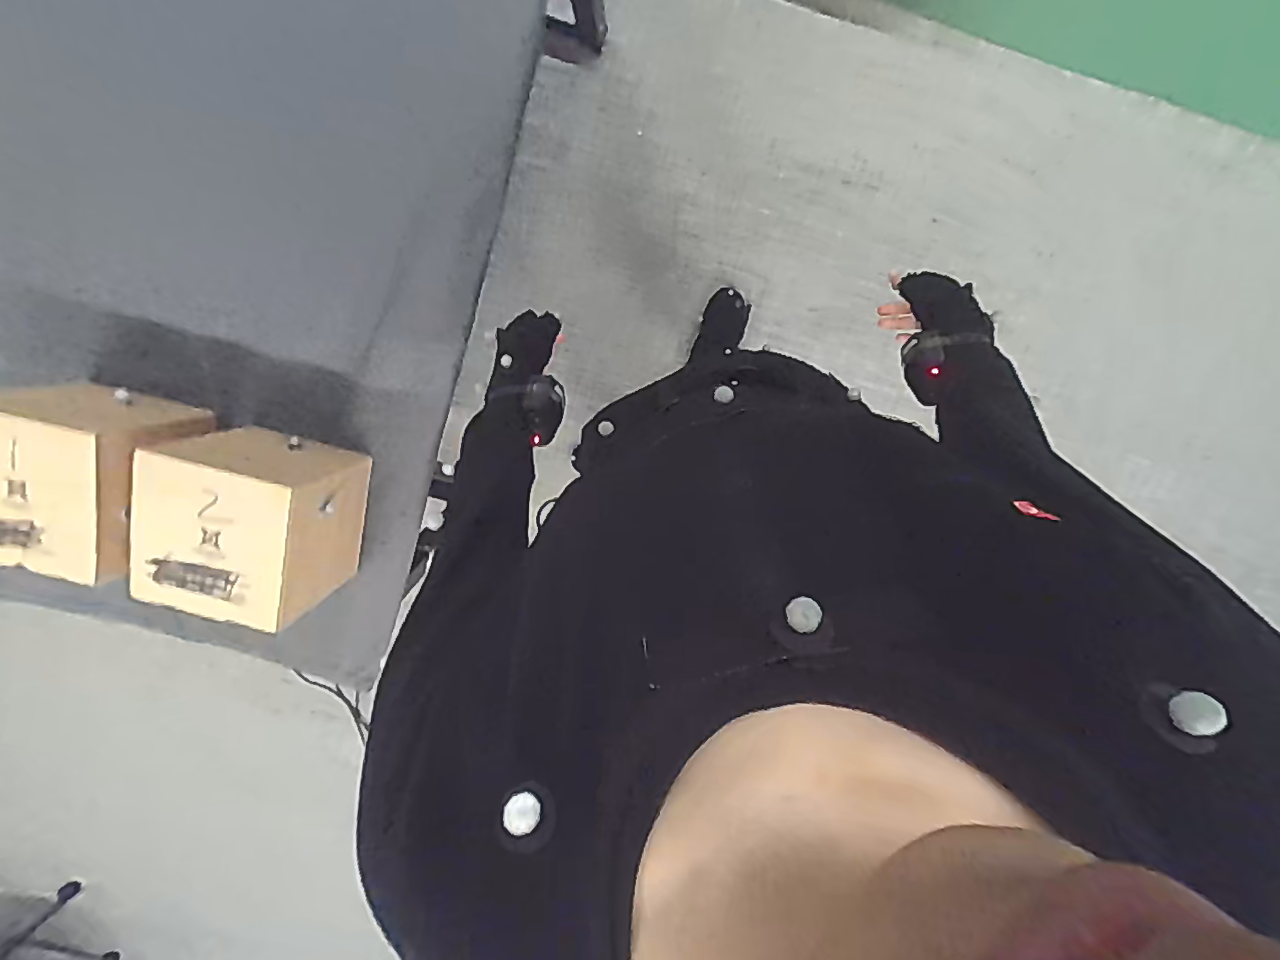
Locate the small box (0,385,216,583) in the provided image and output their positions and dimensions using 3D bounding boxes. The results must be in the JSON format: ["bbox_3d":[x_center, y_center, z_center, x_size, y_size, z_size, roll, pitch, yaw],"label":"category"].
[{"bbox_3d":[-0.652,-0.006,0.648,0.168,0.176,0.179,14,104,-4],"label":"small box"}]
